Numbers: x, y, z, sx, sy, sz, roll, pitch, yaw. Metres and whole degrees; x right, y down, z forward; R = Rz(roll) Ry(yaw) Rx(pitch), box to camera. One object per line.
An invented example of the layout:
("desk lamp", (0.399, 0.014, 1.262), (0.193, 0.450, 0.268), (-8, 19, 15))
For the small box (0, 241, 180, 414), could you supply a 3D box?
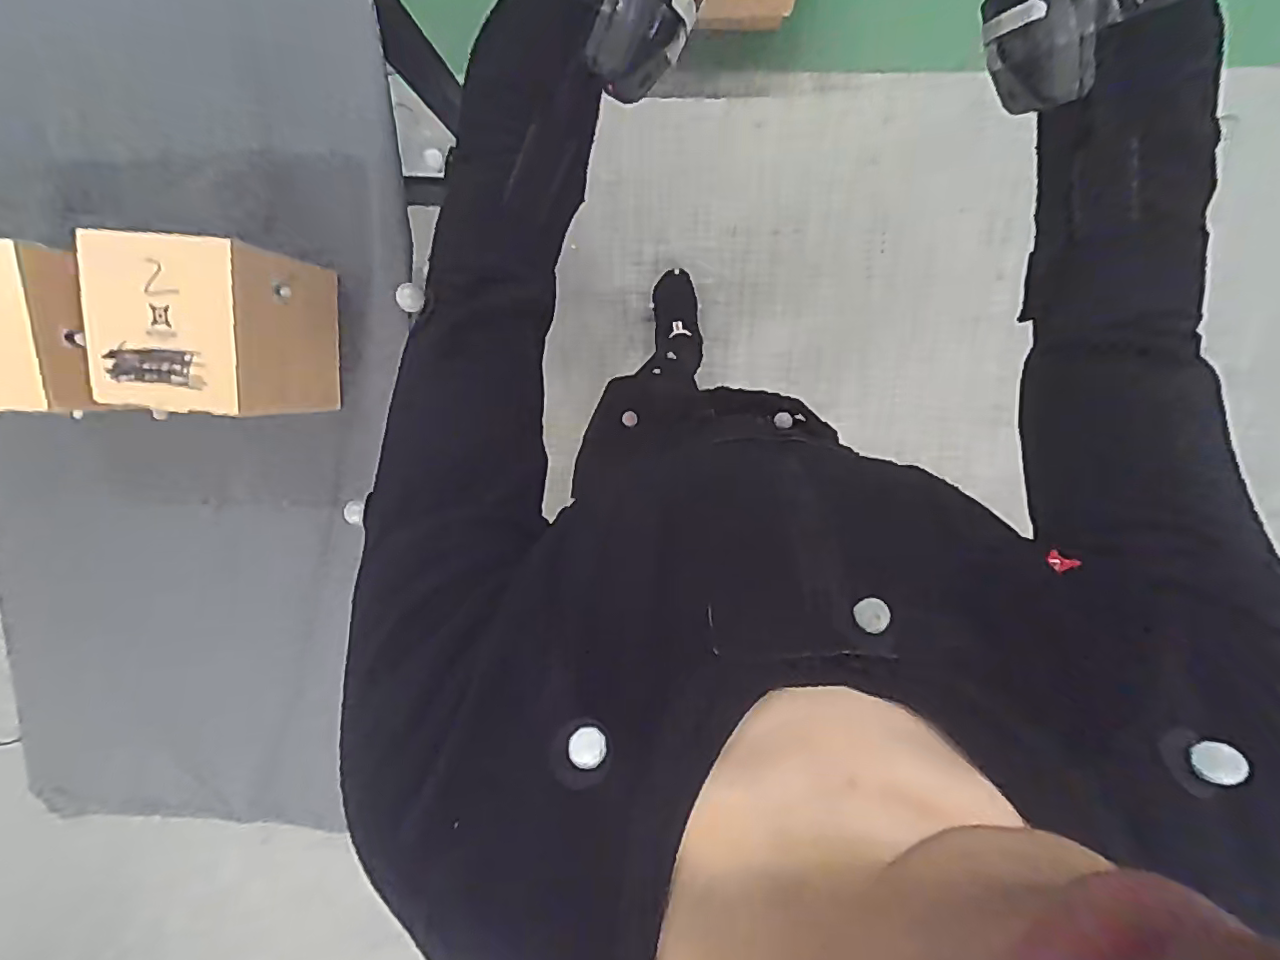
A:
("small box", (-0.705, -0.171, 0.642), (0.168, 0.176, 0.179), (0, 101, 3))
